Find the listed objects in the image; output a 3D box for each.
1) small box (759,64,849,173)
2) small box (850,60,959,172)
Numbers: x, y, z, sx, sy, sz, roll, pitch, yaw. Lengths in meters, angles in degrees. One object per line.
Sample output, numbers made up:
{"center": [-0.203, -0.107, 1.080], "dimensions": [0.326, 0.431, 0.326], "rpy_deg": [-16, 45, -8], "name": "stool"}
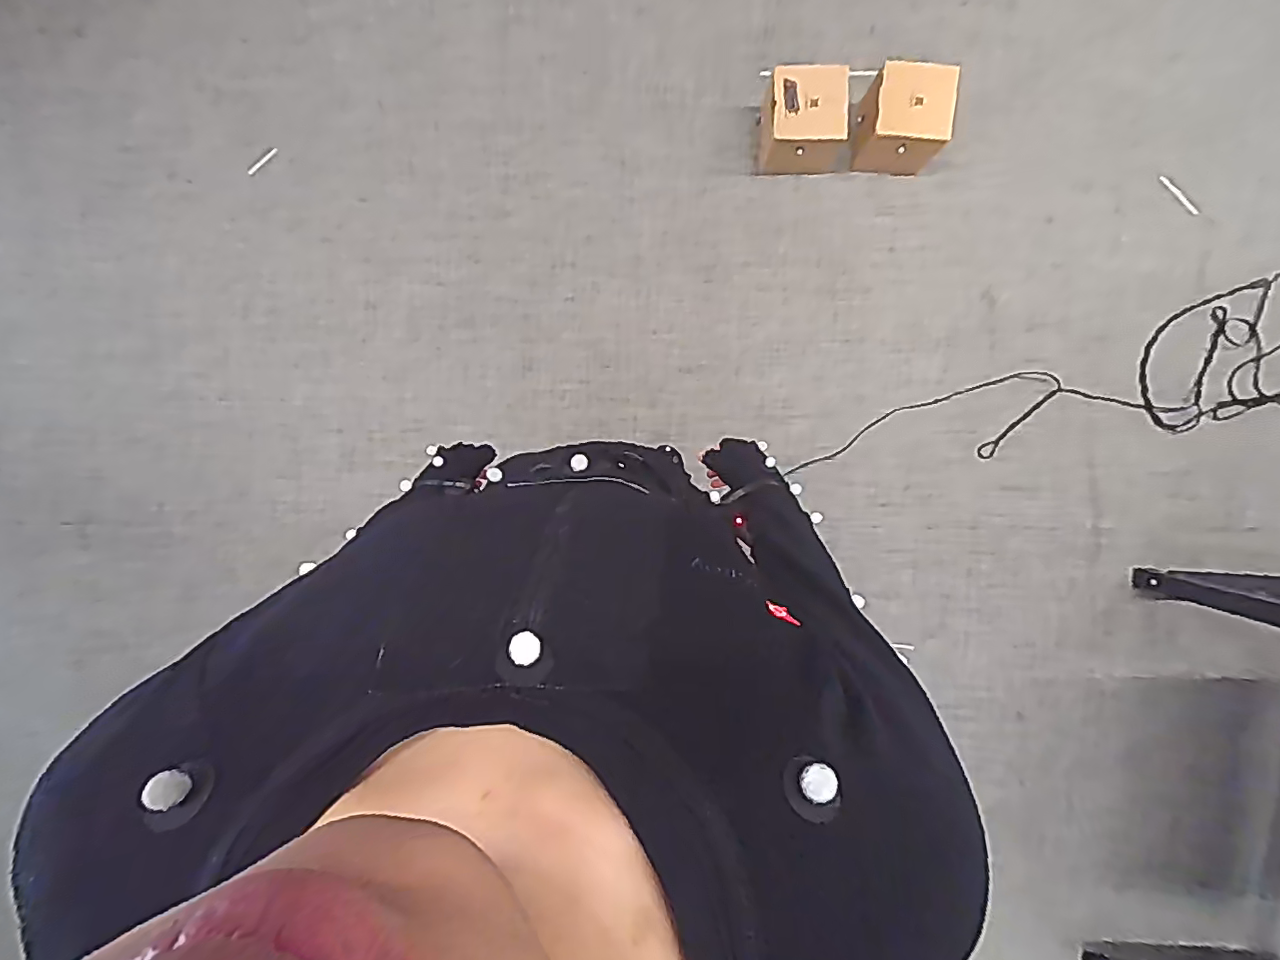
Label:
{"center": [0.394, -0.877, 1.325], "dimensions": [0.179, 0.176, 0.168], "rpy_deg": [0, 94, 0], "name": "small box"}
{"center": [0.639, -0.880, 1.322], "dimensions": [0.179, 0.176, 0.168], "rpy_deg": [5, 95, 2], "name": "small box"}
